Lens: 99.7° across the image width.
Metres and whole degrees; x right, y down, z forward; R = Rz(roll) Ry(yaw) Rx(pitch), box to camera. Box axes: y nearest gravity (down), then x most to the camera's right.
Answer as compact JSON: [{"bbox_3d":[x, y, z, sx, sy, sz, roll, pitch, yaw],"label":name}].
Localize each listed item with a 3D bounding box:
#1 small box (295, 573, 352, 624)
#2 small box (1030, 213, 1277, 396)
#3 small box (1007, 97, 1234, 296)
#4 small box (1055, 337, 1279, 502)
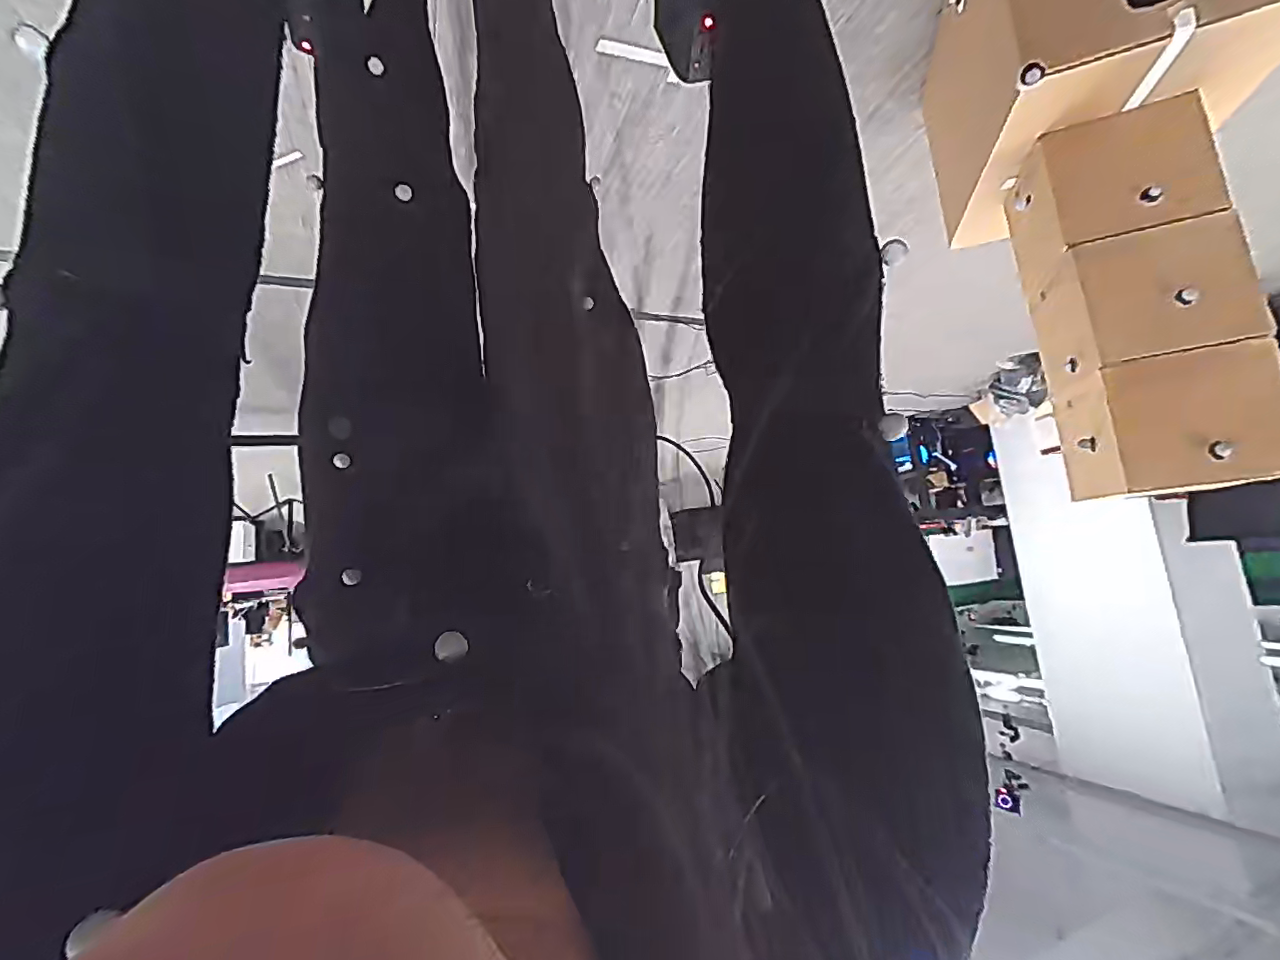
[{"bbox_3d":[-1.190,0.442,2.037,0.179,0.176,0.168,-1,169,-25],"label":"small box"},{"bbox_3d":[0.679,-0.231,0.742,0.179,0.176,0.168,-10,170,17],"label":"small box"},{"bbox_3d":[0.658,-0.392,0.768,0.179,0.176,0.168,-8,171,18],"label":"small box"},{"bbox_3d":[0.696,-0.071,0.721,0.179,0.176,0.168,-9,171,18],"label":"small box"}]
